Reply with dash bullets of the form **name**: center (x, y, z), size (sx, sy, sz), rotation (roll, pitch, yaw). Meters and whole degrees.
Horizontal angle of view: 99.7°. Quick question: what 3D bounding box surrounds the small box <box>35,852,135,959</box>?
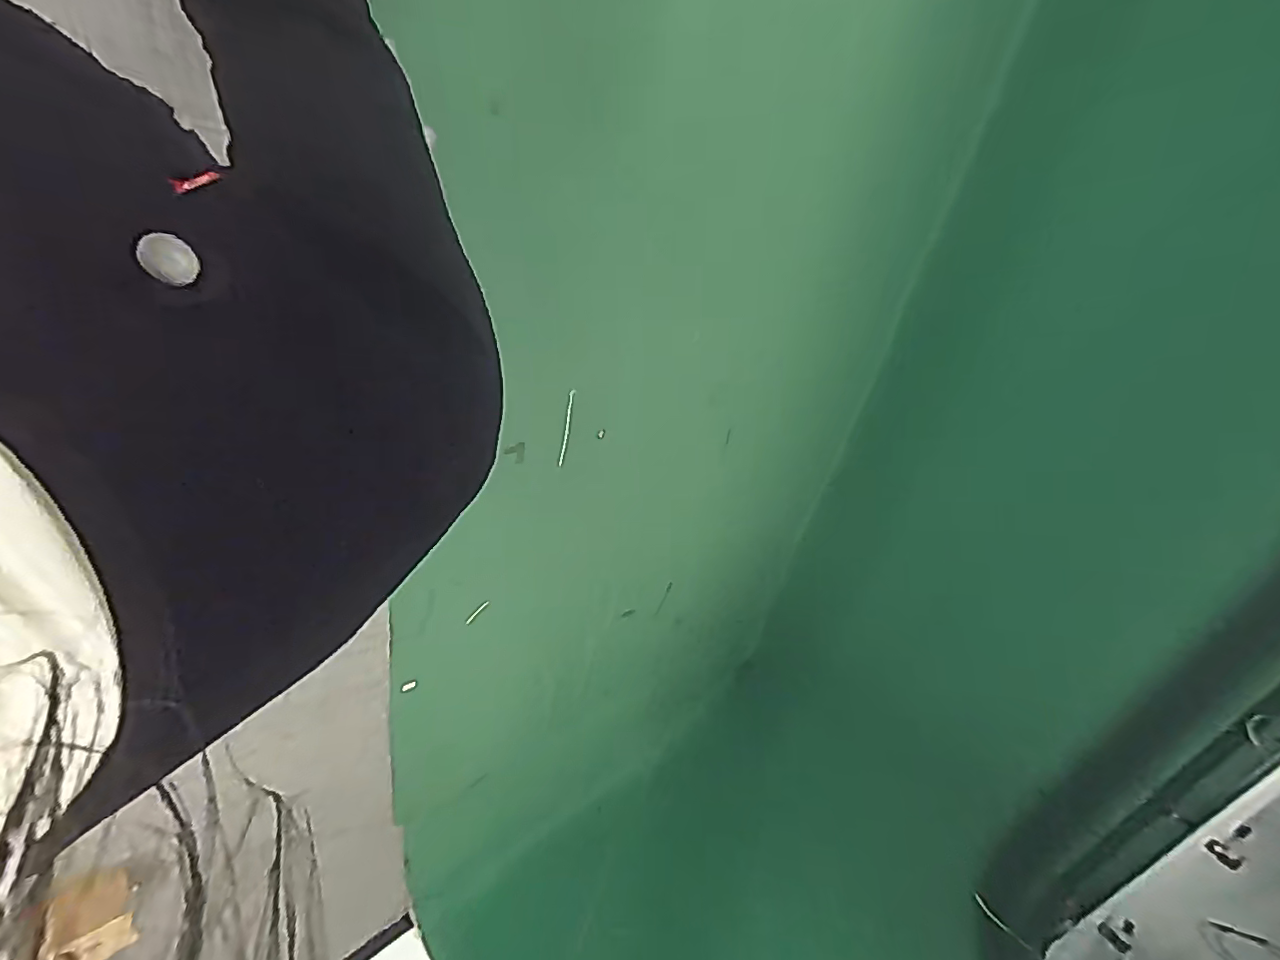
- **small box**: center (-1.610, 1.246, 1.573), size (0.179, 0.176, 0.168), rotation (-15, 130, -41)
